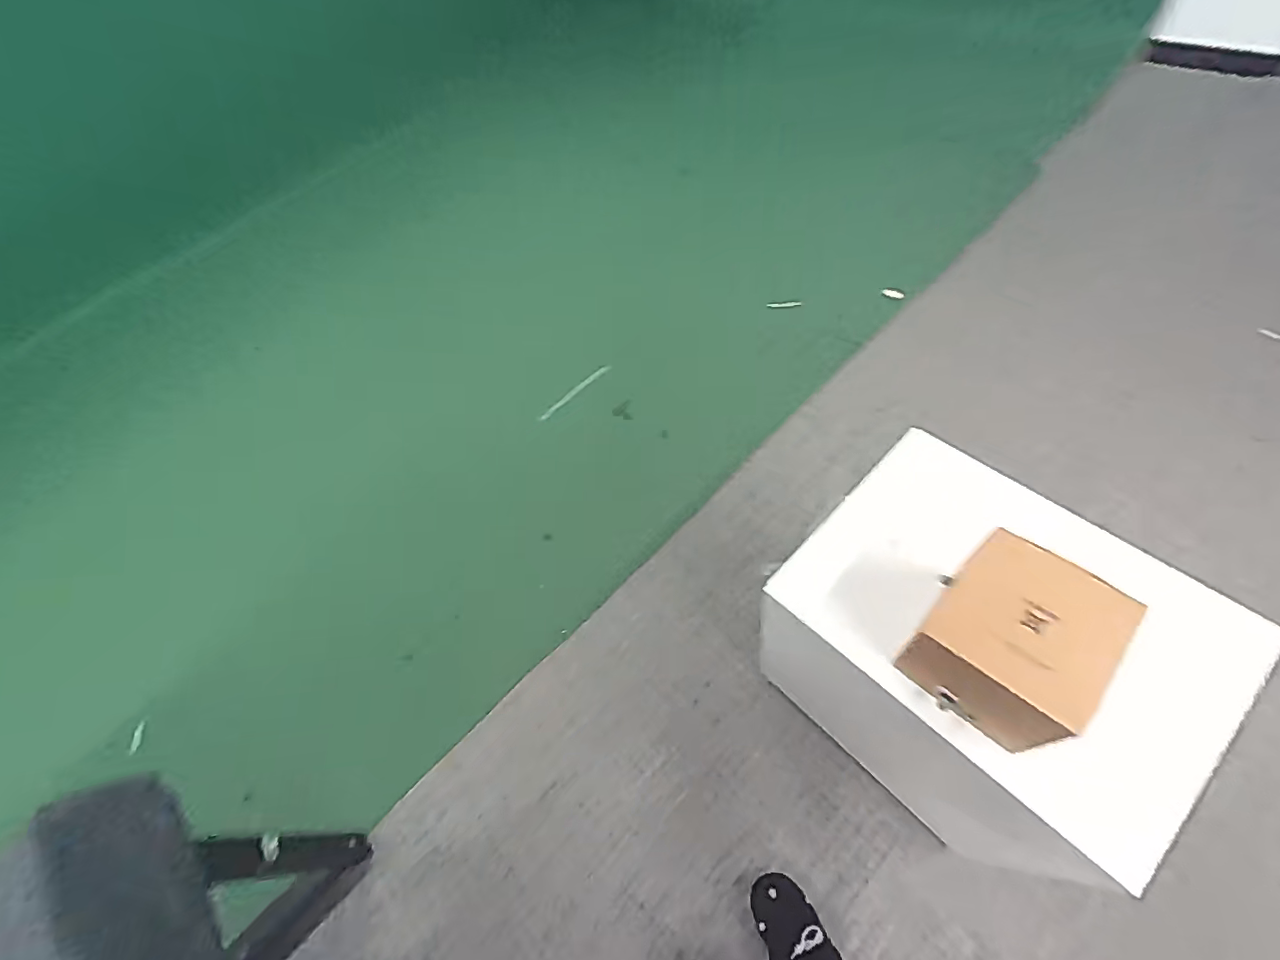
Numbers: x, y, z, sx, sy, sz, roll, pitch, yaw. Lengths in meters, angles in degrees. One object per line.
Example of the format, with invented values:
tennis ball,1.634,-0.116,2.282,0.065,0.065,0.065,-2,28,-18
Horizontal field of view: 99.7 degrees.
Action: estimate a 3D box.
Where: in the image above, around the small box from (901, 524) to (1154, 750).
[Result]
small box,0.442,0.191,0.649,0.168,0.176,0.179,35,73,30
